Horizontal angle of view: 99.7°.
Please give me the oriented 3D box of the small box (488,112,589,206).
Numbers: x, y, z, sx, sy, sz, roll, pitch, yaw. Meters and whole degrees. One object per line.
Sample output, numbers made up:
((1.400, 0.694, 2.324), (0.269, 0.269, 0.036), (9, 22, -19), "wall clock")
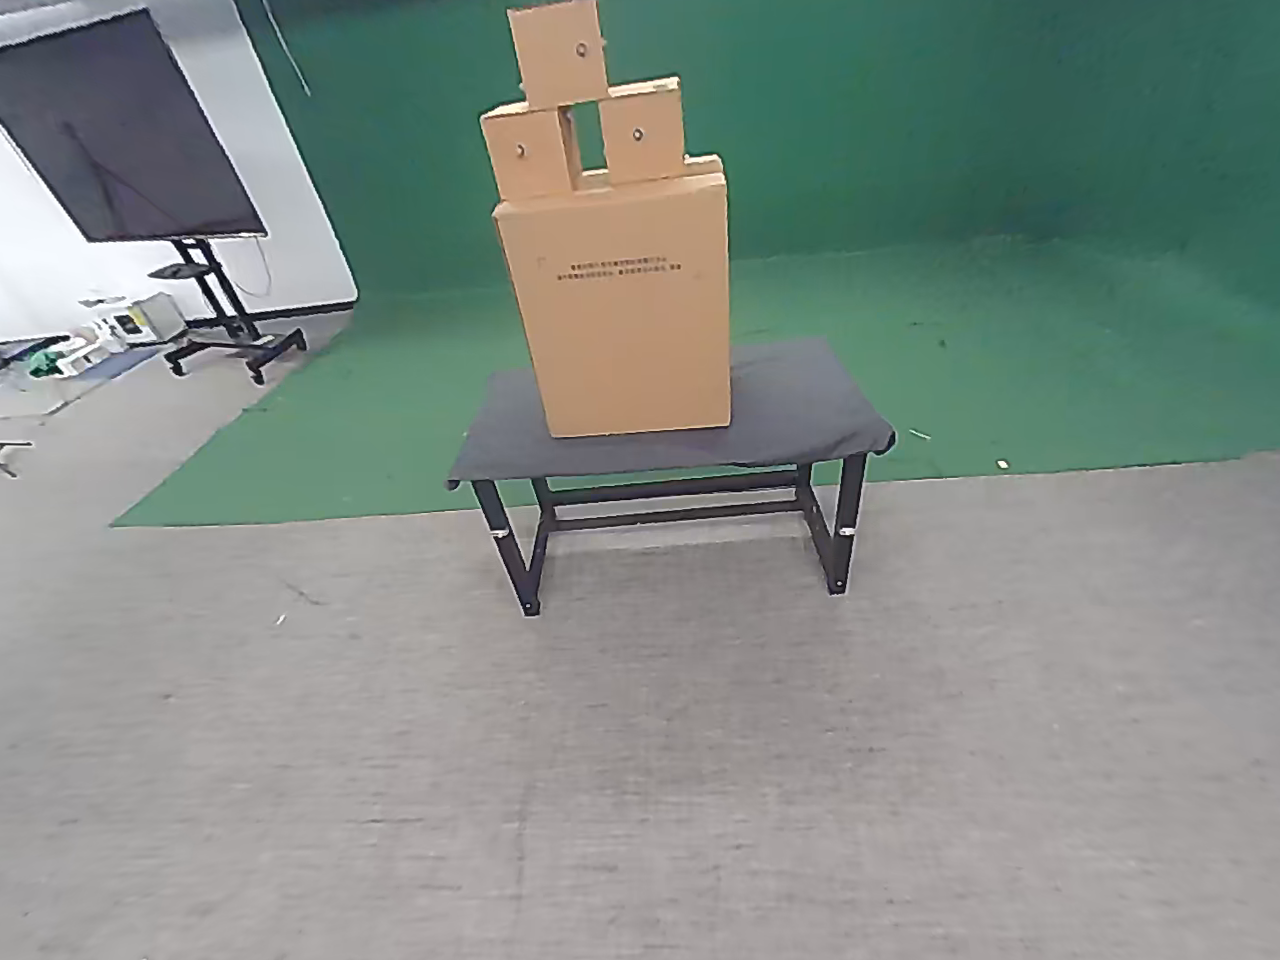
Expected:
((-0.232, -0.767, 1.286), (0.179, 0.176, 0.168), (-2, 42, 8), "small box")

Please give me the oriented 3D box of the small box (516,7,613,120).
((-0.156, -0.899, 1.172), (0.179, 0.176, 0.168), (-10, 40, 1), "small box")

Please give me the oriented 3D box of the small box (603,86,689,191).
((0.023, -0.798, 1.268), (0.179, 0.176, 0.168), (-3, 42, 9), "small box")
